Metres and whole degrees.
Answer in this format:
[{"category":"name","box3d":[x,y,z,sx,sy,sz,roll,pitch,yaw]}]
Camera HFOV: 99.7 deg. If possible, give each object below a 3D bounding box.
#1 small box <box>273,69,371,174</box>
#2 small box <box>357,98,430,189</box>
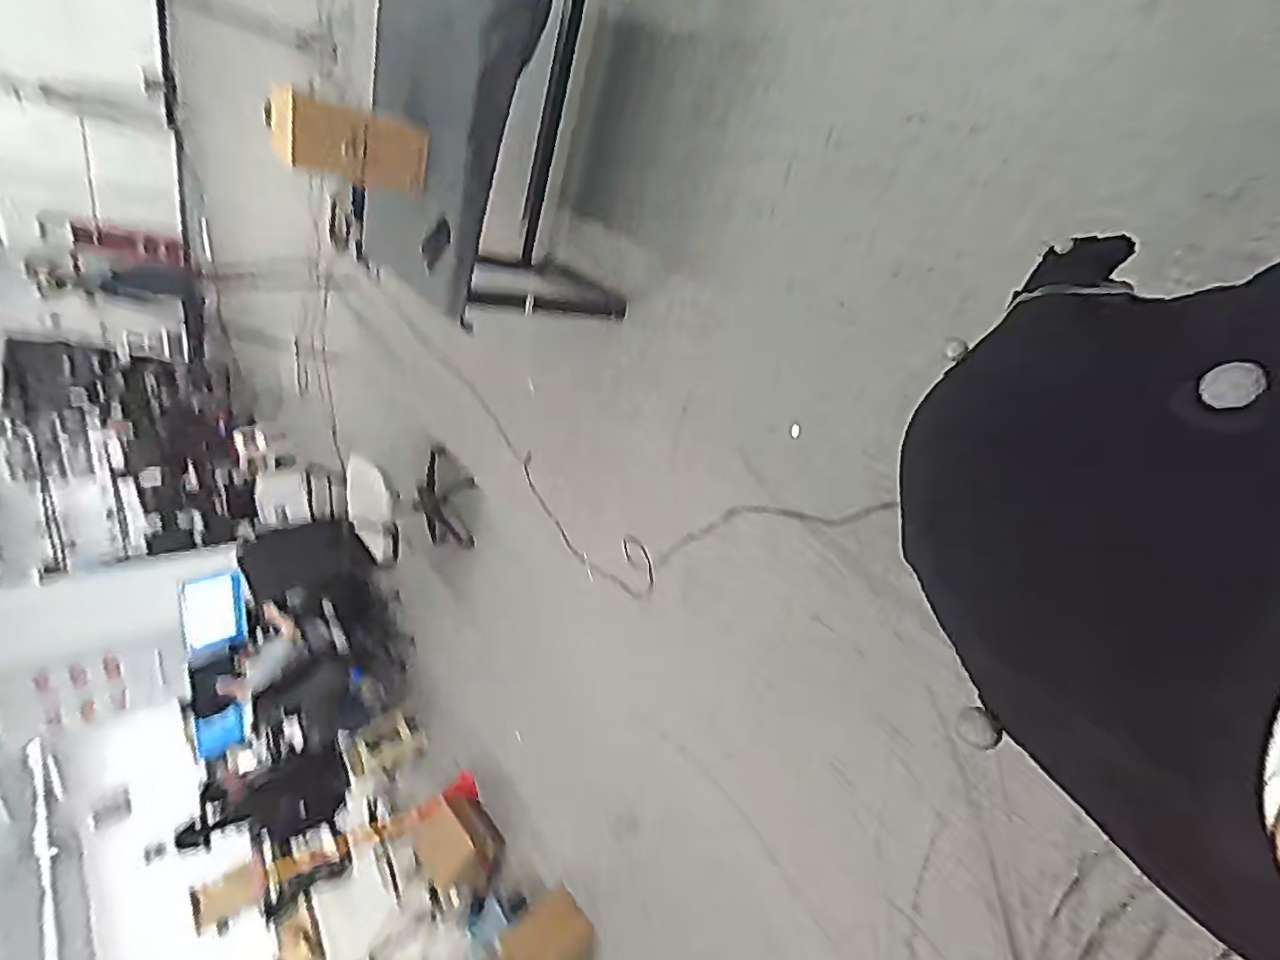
[{"category":"small box","box3d":[-0.805,-0.900,1.367,0.179,0.176,0.168,40,124,31]},{"category":"small box","box3d":[-0.697,-0.922,1.485,0.179,0.176,0.168,43,124,32]}]
